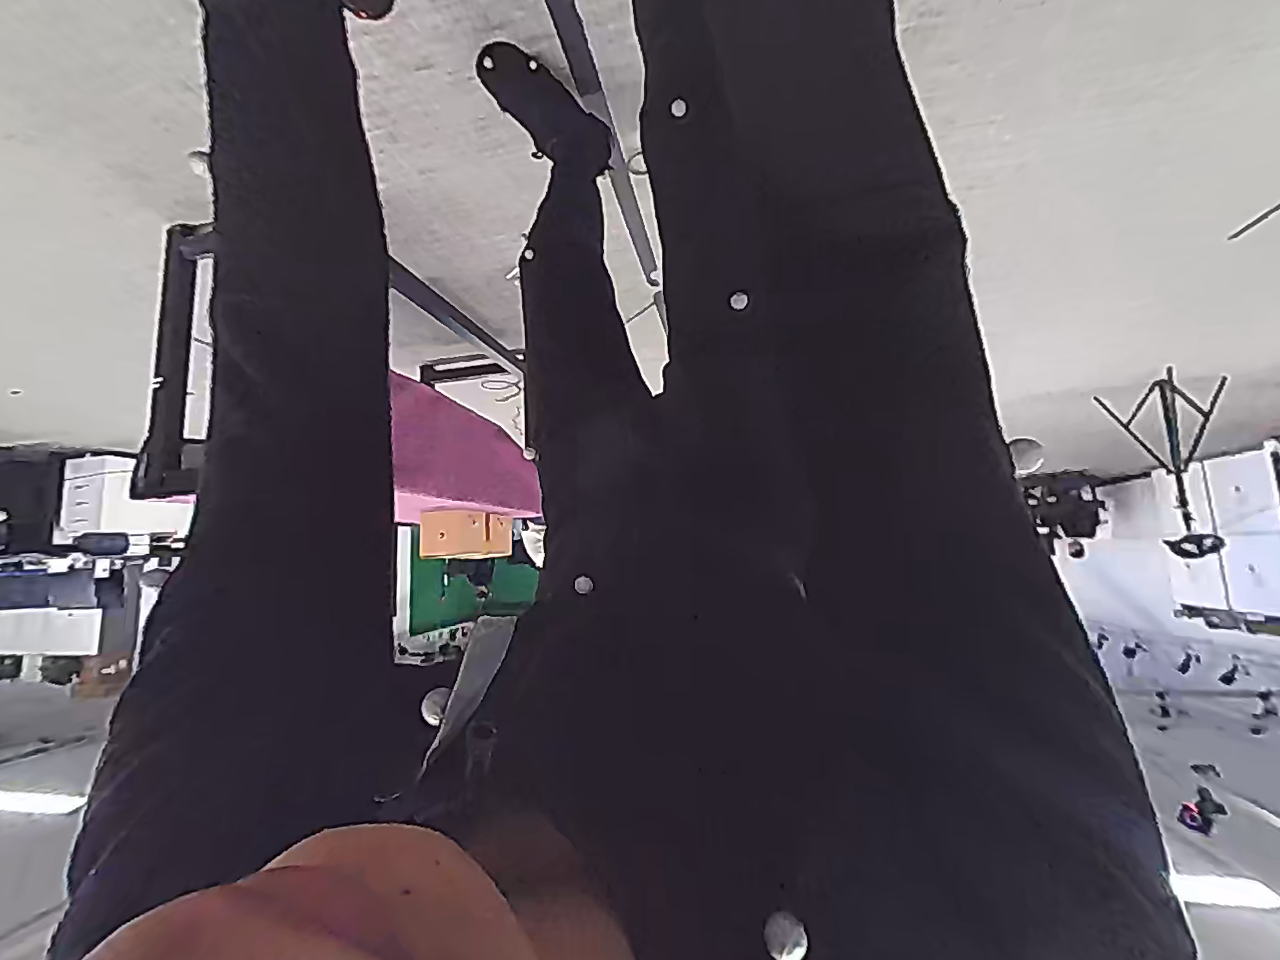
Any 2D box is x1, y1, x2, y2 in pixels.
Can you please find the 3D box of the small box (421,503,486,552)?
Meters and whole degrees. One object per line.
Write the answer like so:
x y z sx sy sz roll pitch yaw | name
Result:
-0.701 0.183 2.044 0.179 0.176 0.168 -5 173 16 | small box
